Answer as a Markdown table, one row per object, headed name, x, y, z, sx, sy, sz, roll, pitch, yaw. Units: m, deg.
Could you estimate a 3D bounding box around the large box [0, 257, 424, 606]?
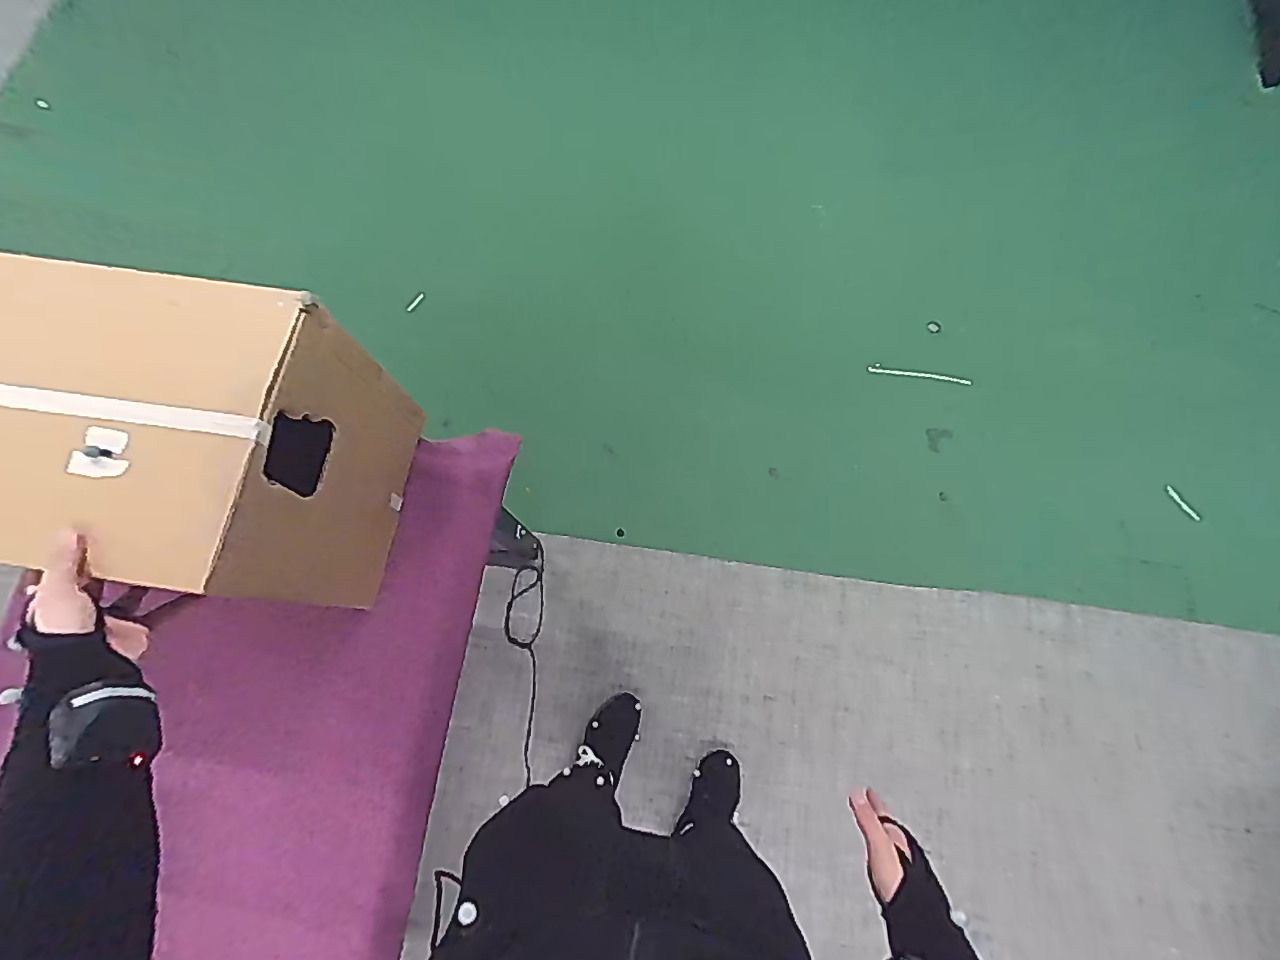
| name | x | y | z | sx | sy | sz | roll | pitch | yaw |
| --- | --- | --- | --- | --- | --- | --- | --- | --- | --- |
| large box | -0.549 | -0.030 | 0.667 | 0.408 | 0.320 | 0.320 | 8 | 75 | 1 |
